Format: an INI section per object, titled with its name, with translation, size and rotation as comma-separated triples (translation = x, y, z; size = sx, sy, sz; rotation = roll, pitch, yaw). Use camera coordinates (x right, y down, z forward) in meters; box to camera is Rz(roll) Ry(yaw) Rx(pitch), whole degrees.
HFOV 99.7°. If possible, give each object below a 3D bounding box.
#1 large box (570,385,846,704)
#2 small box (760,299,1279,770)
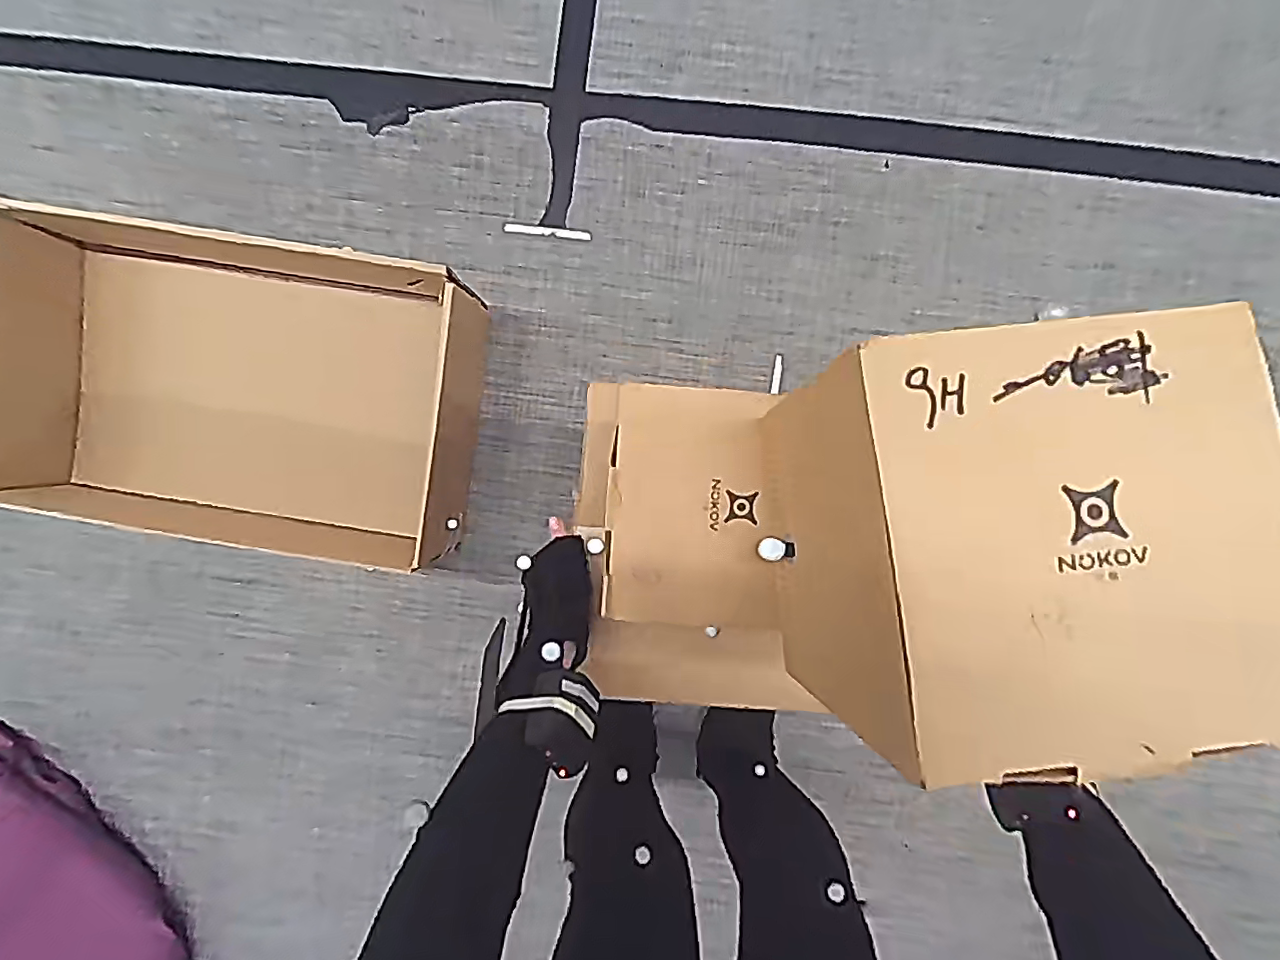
[large box]
translation = 0.125, 0.080, 0.695
size = 0.408, 0.320, 0.320
rotation = 4, 85, -3
[small box]
translation = 0.172, 0.024, 0.293
size = 0.168, 0.176, 0.179
rotation = -6, 85, -3
